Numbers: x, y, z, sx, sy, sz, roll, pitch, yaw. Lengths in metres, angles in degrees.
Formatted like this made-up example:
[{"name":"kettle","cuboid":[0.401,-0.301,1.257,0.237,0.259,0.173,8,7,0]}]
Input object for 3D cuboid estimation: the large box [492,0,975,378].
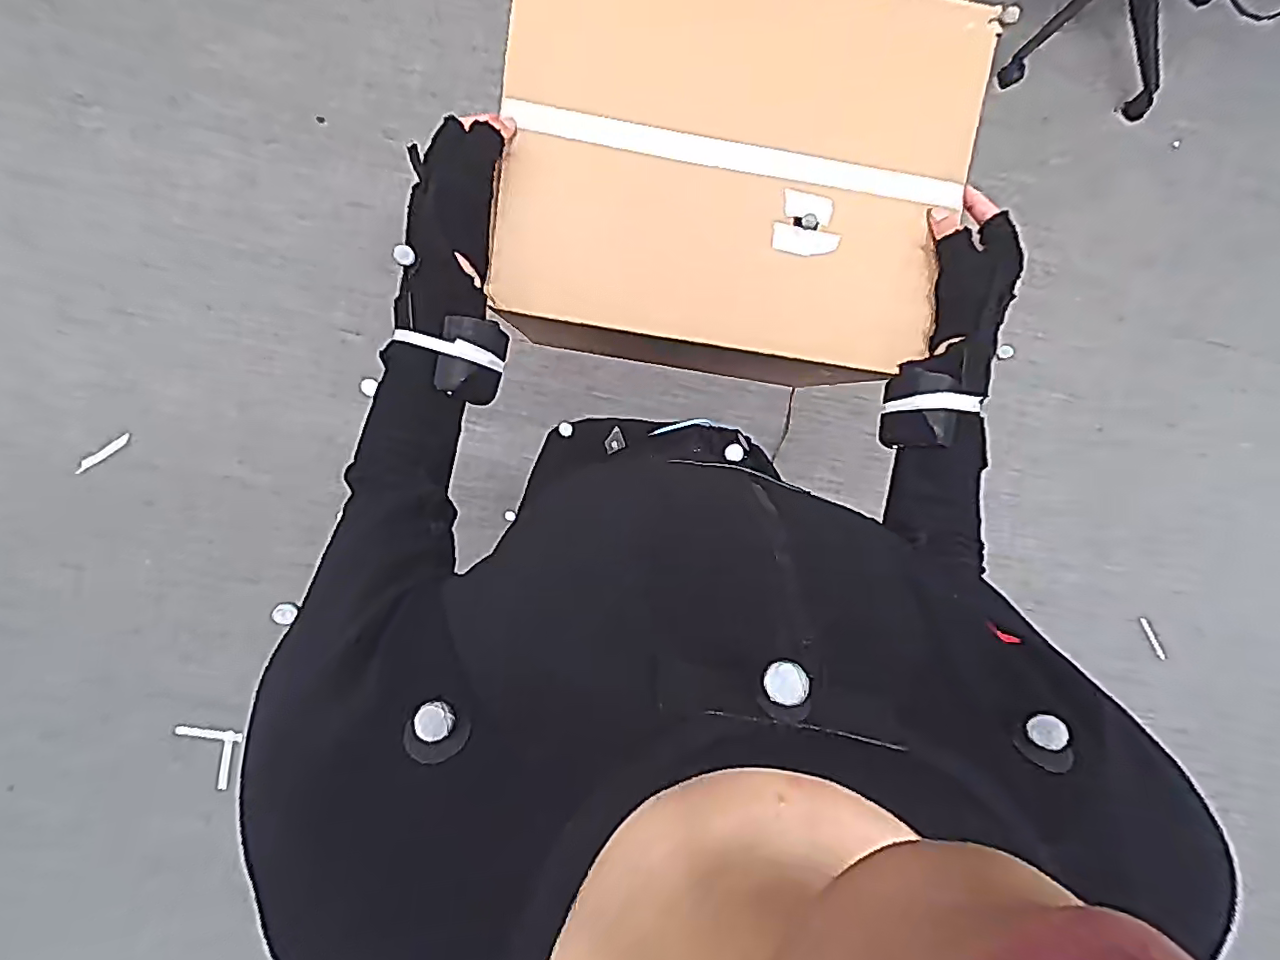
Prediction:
[{"name":"large box","cuboid":[0.070,-0.304,0.627,0.408,0.320,0.320,8,99,-5]}]
